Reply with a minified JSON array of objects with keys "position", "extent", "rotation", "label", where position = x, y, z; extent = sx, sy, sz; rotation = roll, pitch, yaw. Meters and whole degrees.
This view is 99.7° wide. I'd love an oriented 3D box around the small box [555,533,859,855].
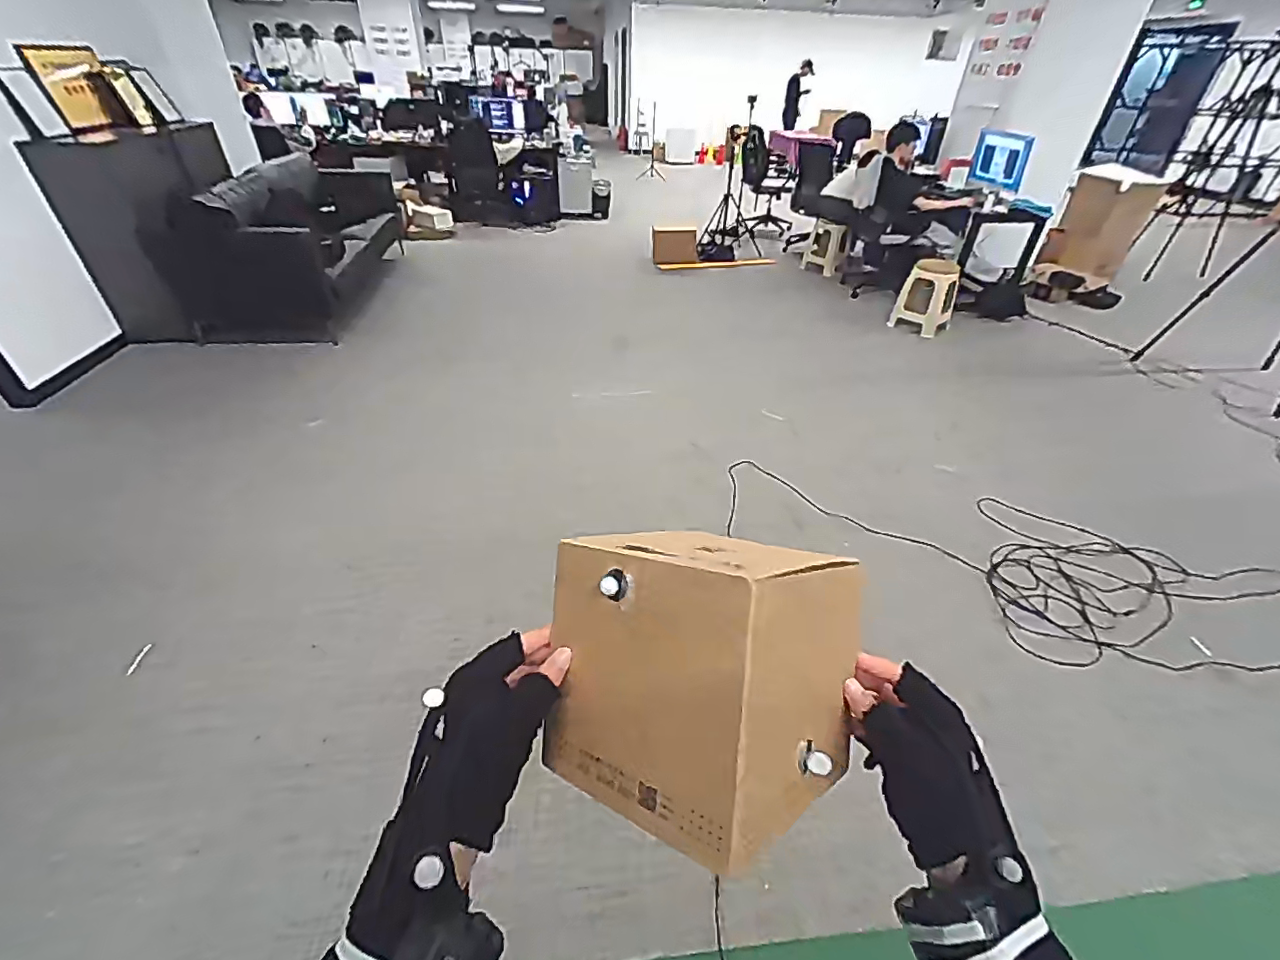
[{"position":[0.051,0.136,0.418],"extent":[0.168,0.176,0.179],"rotation":[3,-1,42],"label":"small box"}]
